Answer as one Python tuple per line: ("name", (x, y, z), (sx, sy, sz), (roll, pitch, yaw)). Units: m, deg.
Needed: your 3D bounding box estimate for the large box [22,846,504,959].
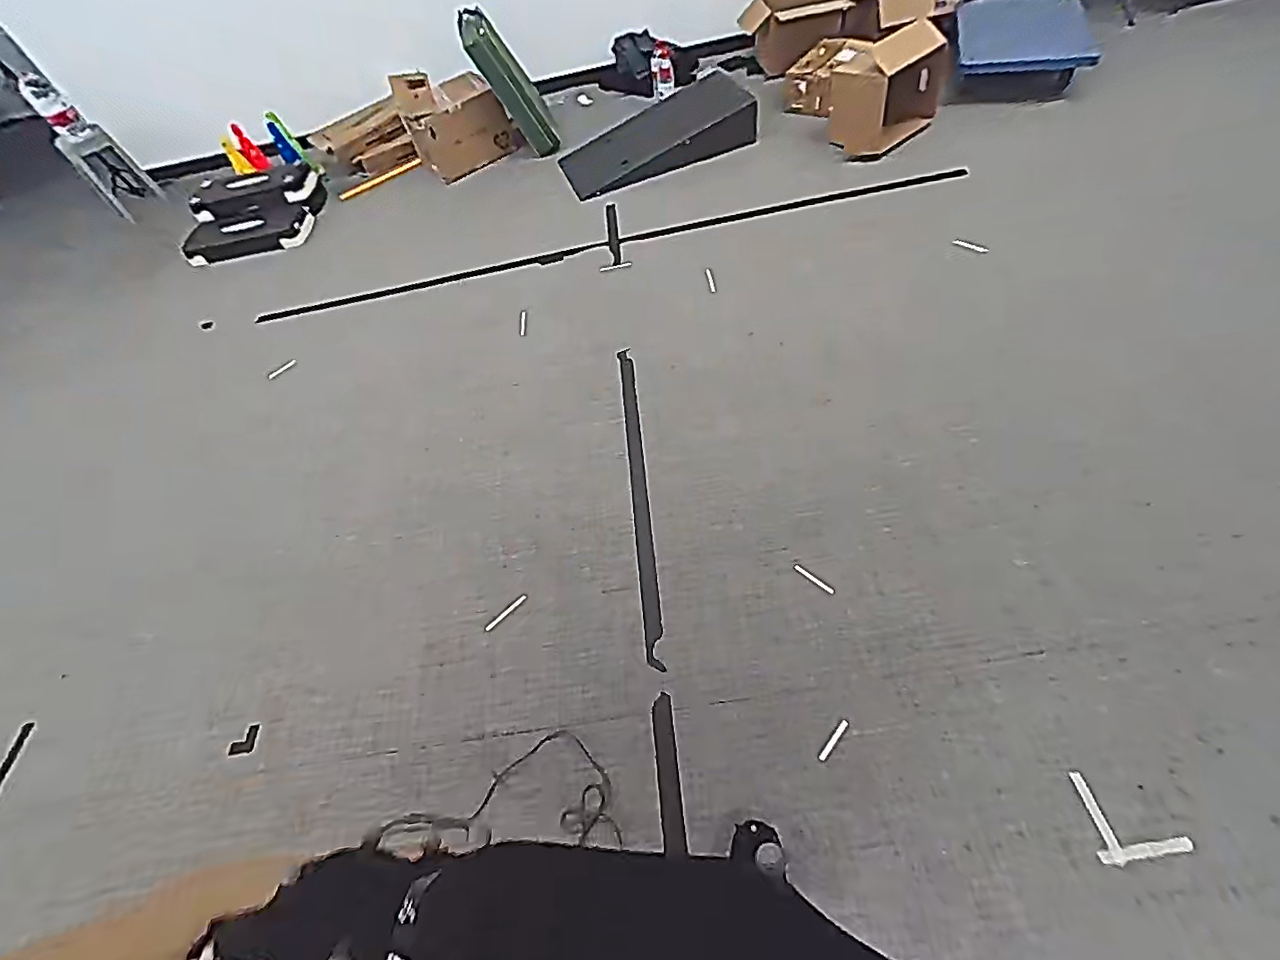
("large box", (-0.280, 0.558, 0.413), (0.320, 0.320, 0.408), (-1, 65, -8))
